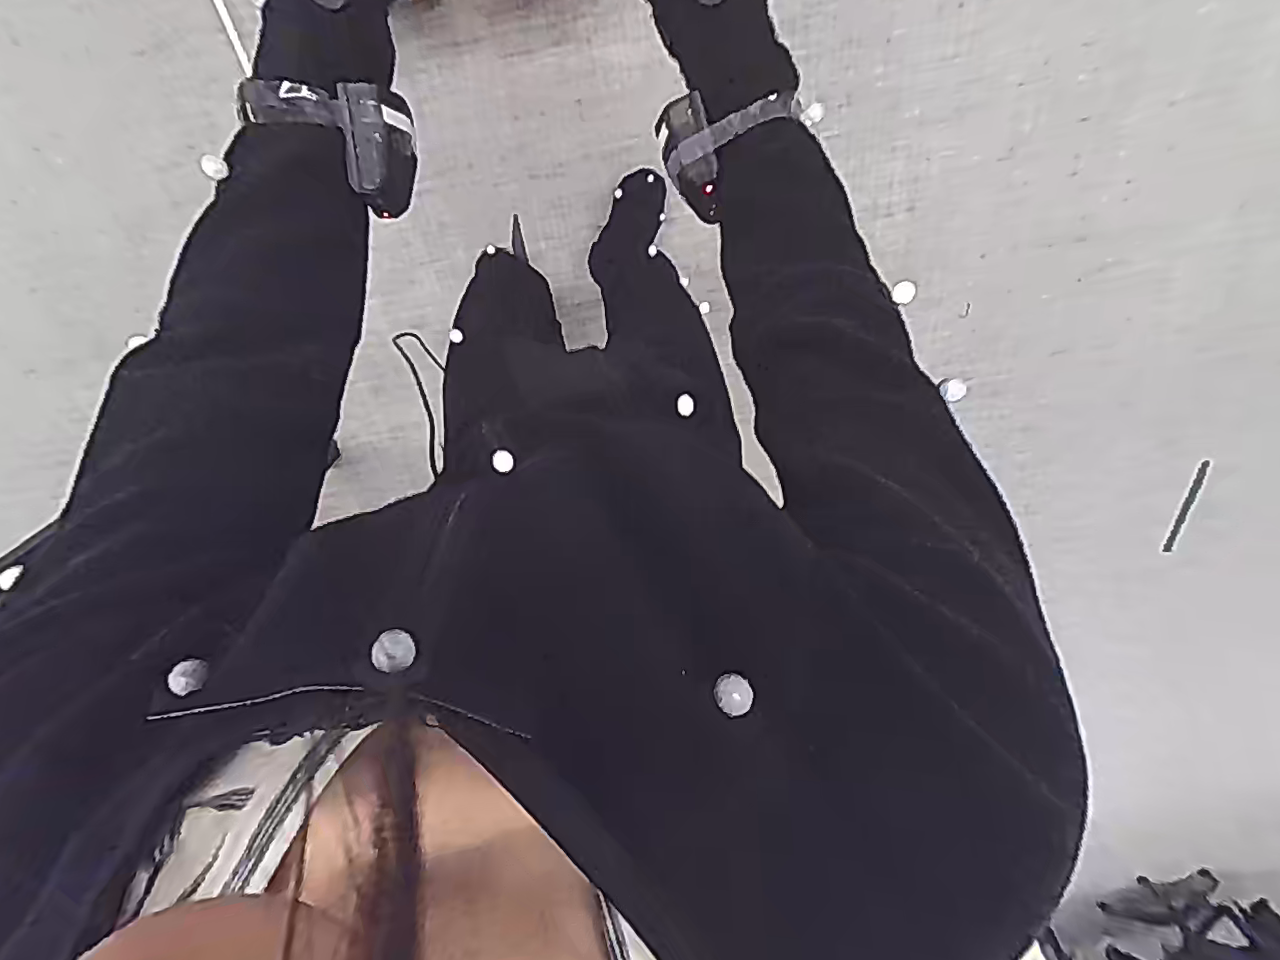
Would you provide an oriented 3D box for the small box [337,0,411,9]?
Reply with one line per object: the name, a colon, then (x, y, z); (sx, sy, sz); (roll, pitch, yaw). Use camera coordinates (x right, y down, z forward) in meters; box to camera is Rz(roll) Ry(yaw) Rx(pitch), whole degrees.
small box: (-0.429, -0.865, 0.839); (0.168, 0.176, 0.179); (-11, 122, 2)
